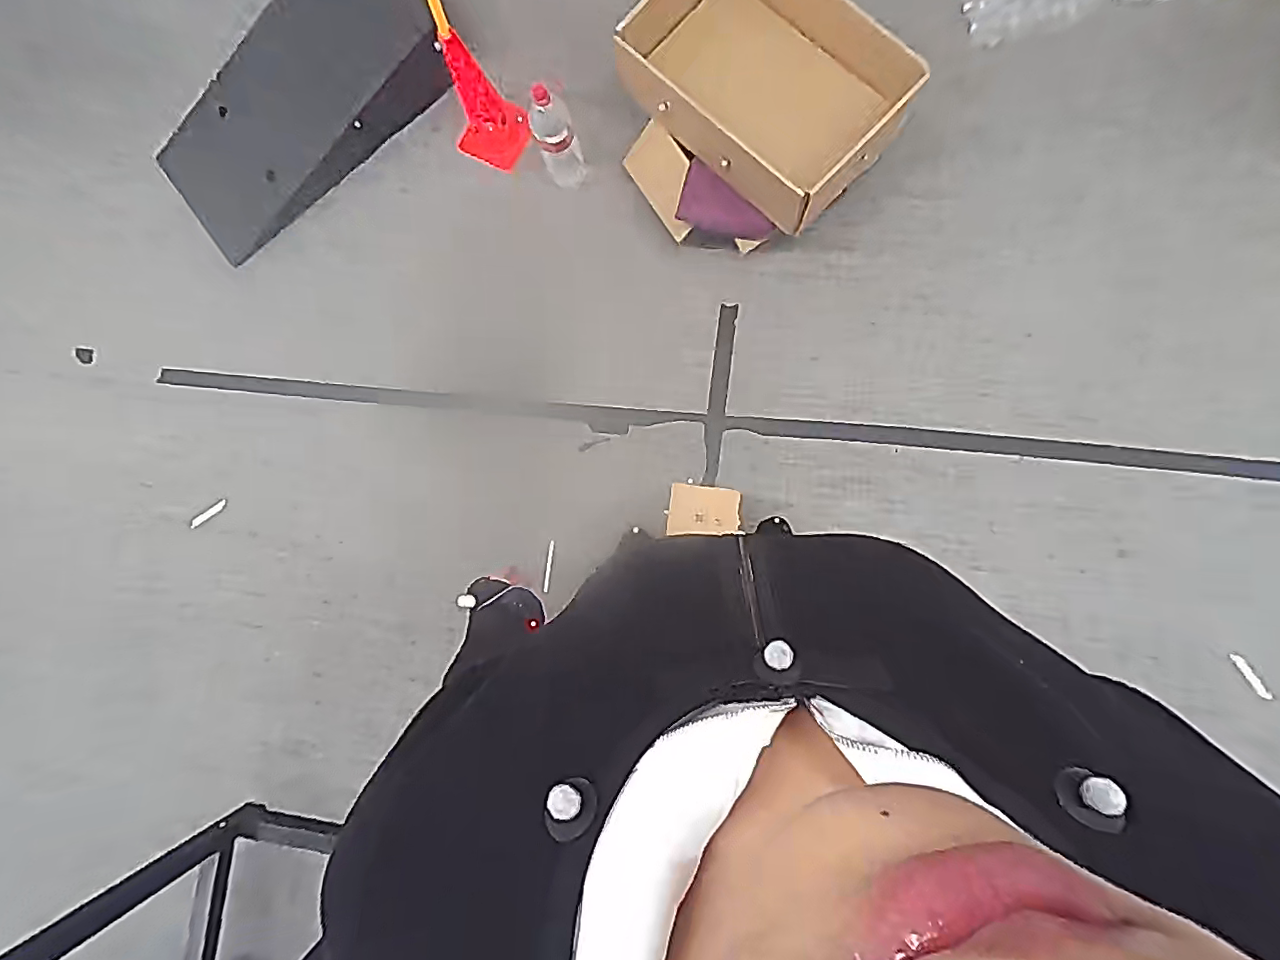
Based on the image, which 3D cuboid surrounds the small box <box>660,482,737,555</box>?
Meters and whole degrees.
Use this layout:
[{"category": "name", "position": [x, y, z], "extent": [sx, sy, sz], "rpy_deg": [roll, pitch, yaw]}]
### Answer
[{"category": "small box", "position": [0.154, 0.102, 1.431], "extent": [0.179, 0.176, 0.168], "rpy_deg": [7, 88, 5]}]
